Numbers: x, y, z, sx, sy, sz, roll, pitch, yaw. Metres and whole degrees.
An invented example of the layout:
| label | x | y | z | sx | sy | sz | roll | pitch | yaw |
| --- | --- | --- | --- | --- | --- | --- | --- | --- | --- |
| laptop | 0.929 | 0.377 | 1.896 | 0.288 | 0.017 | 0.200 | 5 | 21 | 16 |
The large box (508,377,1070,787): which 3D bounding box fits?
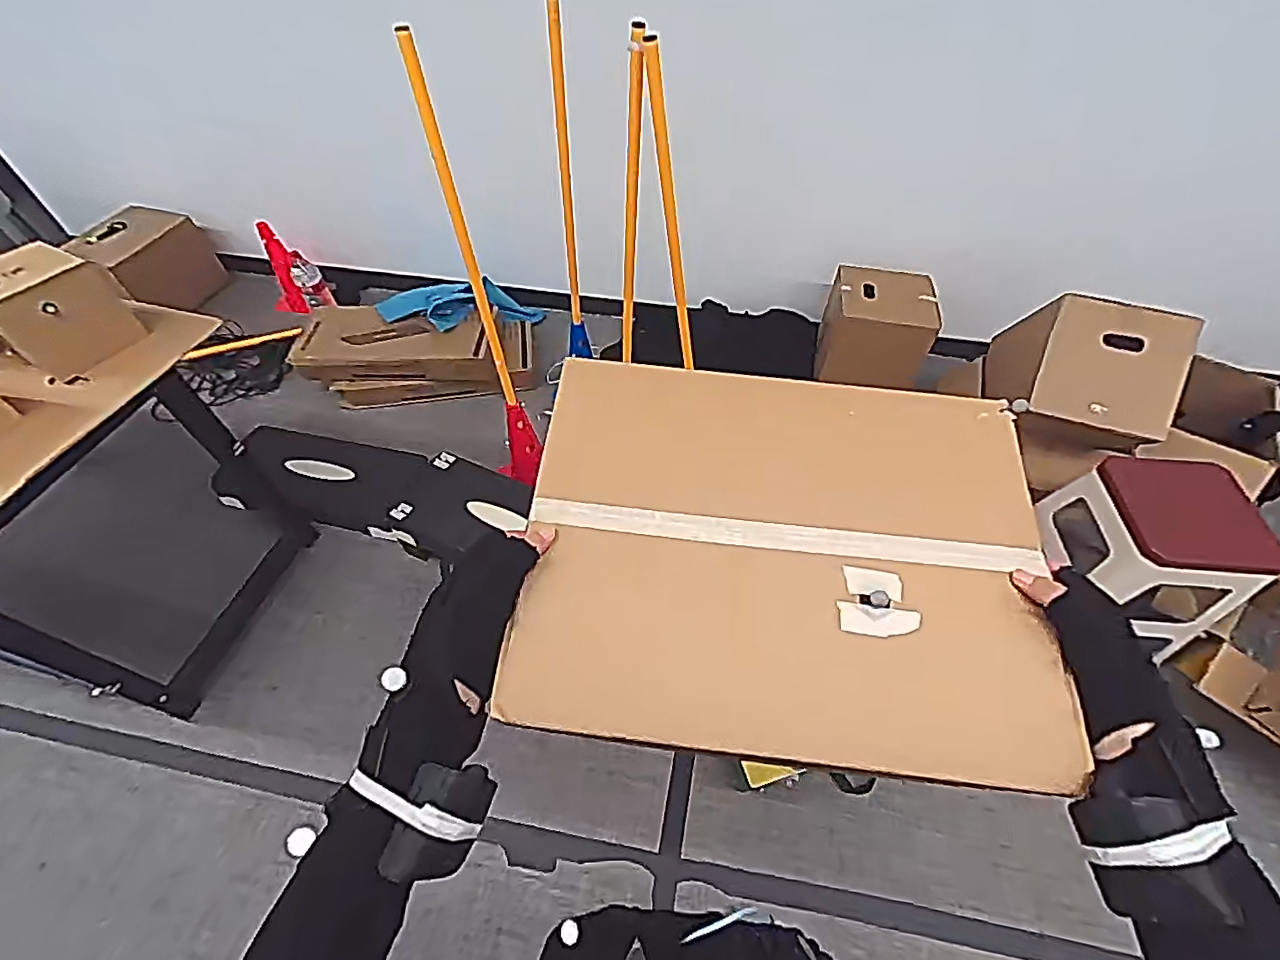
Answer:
| label | x | y | z | sx | sy | sz | roll | pitch | yaw |
| --- | --- | --- | --- | --- | --- | --- | --- | --- | --- |
| large box | 0.112 | 0.121 | 0.575 | 0.408 | 0.320 | 0.320 | 6 | 65 | 2 |
